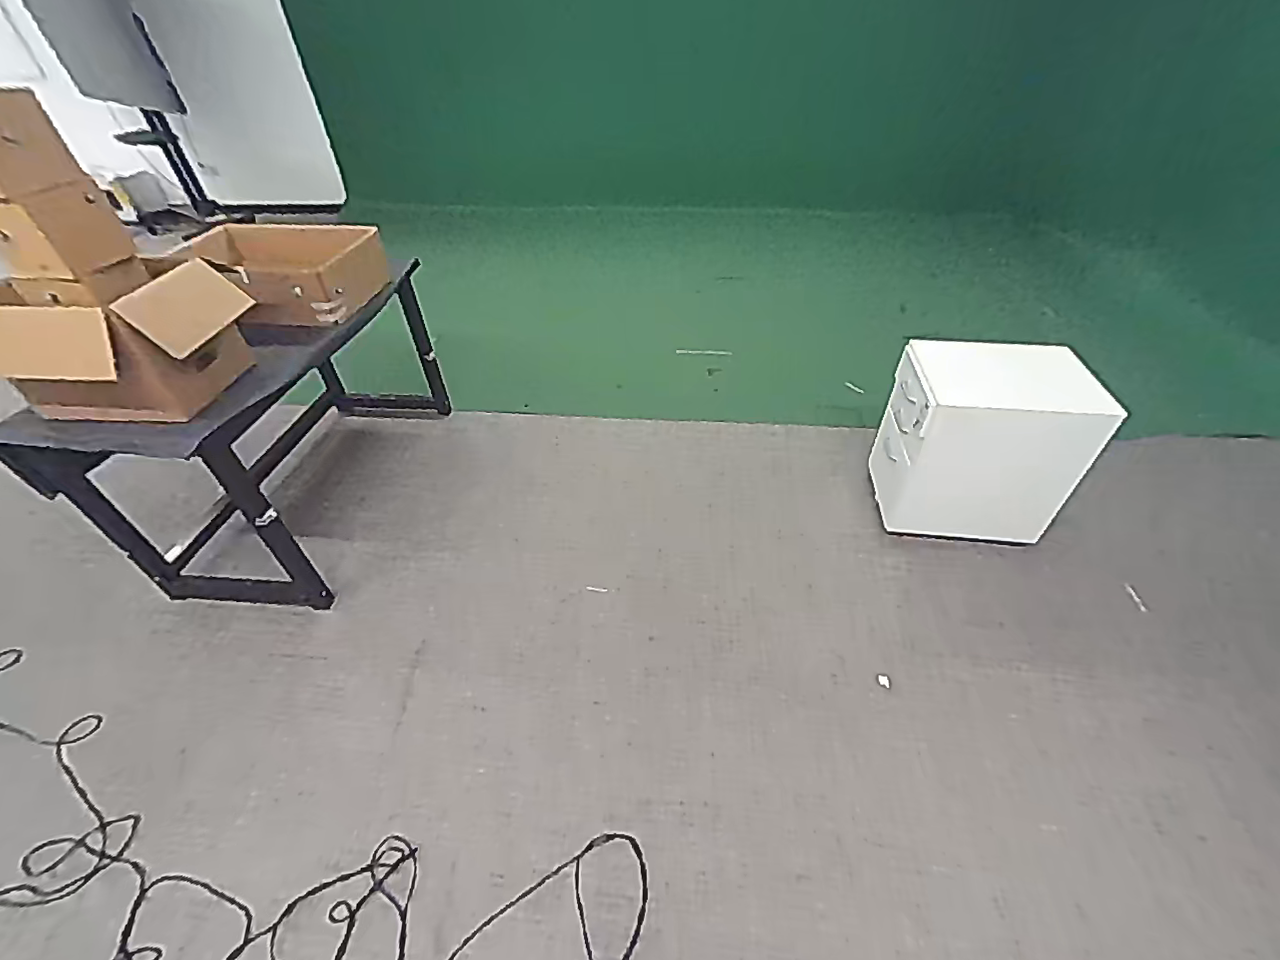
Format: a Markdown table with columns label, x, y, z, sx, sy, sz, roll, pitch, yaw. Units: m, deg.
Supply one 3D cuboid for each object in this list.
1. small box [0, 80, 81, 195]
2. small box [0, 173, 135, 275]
| label | x | y | z | sx | sy | sz | roll | pitch | yaw |
| --- | --- | --- | --- | --- | --- | --- | --- | --- | --- |
| small box | -1.313 | -0.685 | 1.084 | 0.168 | 0.176 | 0.179 | 6 | 43 | 8 |
| small box | -1.303 | -0.569 | 1.201 | 0.168 | 0.176 | 0.179 | 7 | 43 | 9 |
